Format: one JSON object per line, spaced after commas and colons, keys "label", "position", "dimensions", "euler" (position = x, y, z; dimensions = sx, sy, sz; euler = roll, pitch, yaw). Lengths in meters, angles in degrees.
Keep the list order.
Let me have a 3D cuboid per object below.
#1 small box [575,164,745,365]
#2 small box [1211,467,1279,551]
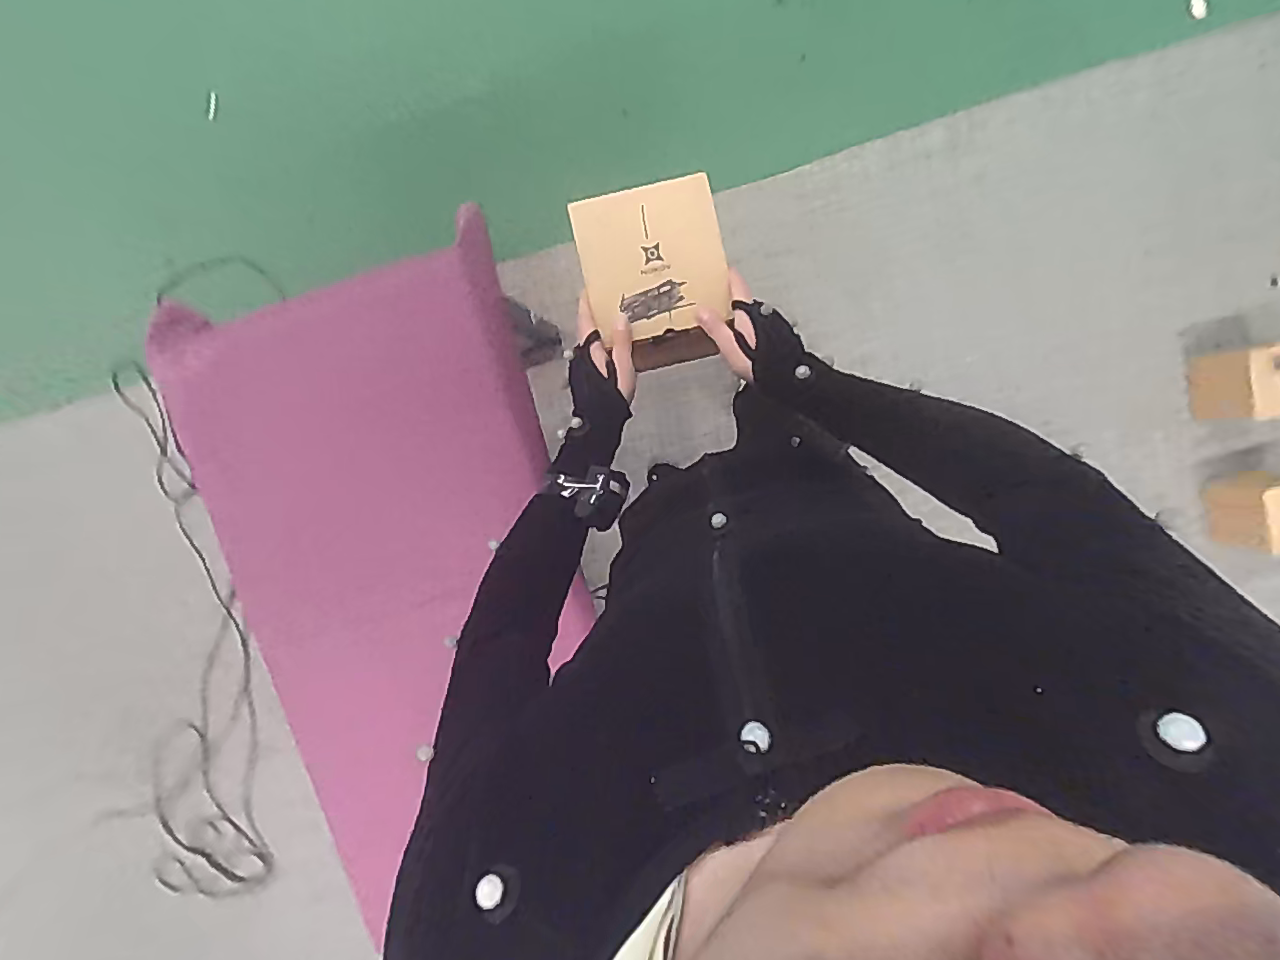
{"label": "small box", "position": [0.024, -0.253, 0.683], "dimensions": [0.168, 0.176, 0.179], "euler": [-12, 89, 0]}
{"label": "small box", "position": [1.645, 0.070, 1.397], "dimensions": [0.168, 0.176, 0.179], "euler": [-16, 96, 7]}
